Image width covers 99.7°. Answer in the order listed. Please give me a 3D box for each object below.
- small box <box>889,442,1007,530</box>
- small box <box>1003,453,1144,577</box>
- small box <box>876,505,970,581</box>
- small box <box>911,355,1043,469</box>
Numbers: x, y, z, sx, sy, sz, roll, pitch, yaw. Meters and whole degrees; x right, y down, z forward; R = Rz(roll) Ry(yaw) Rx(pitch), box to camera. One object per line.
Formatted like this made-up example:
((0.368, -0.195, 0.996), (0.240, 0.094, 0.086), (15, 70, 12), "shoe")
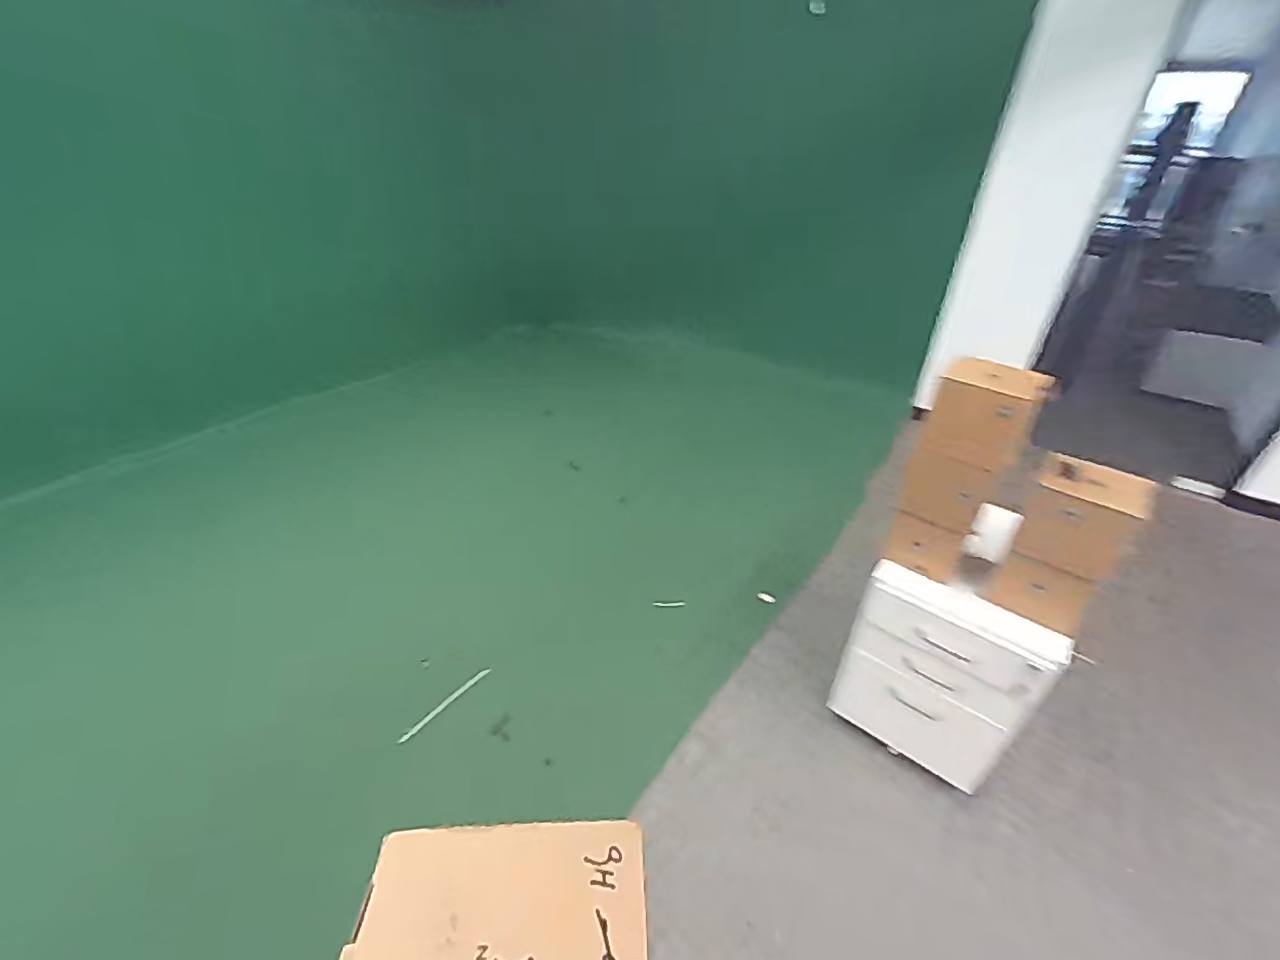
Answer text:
((0.703, -0.008, 1.239), (0.179, 0.176, 0.168), (25, 41, 31), "small box")
((0.891, 0.072, 1.123), (0.179, 0.176, 0.168), (26, 42, 33), "small box")
((0.710, 0.117, 1.342), (0.168, 0.176, 0.179), (27, 43, 30), "small box")
((0.708, -0.145, 1.150), (0.179, 0.176, 0.168), (28, 42, 32), "small box")
